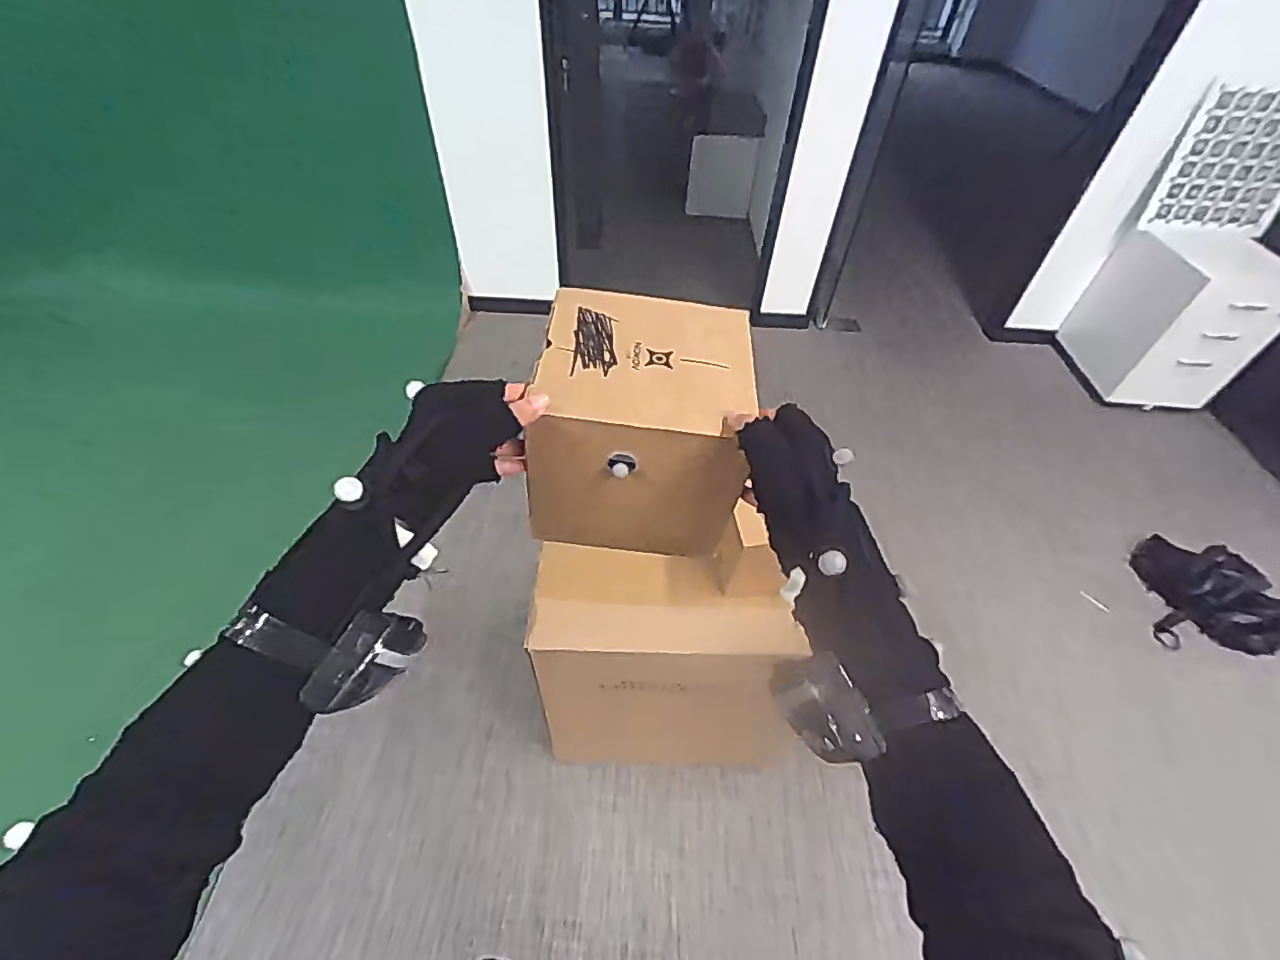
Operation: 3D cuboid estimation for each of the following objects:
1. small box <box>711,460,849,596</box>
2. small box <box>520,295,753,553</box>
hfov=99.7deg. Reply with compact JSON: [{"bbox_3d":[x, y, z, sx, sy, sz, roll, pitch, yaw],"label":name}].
[{"bbox_3d":[0.228,0.086,0.939,0.179,0.176,0.168,-5,51,-5],"label":"small box"},{"bbox_3d":[-0.005,-0.047,0.507,0.179,0.176,0.168,7,51,-3],"label":"small box"}]
